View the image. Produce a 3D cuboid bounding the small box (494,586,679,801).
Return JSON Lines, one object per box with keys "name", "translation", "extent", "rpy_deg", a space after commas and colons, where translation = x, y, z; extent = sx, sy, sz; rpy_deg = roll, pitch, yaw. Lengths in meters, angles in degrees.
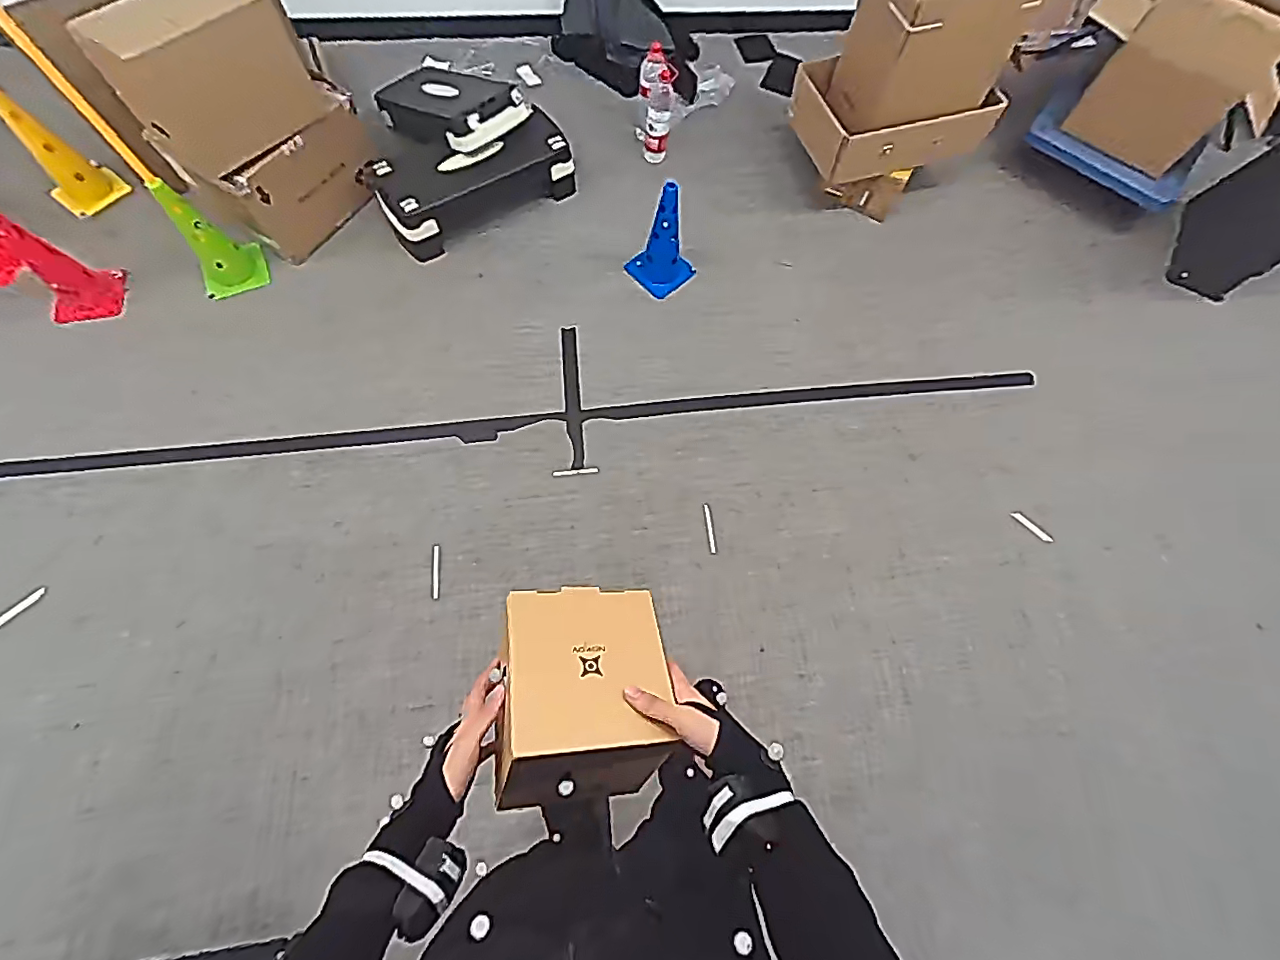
{"name": "small box", "translation": [-0.072, 0.239, 0.607], "extent": [0.168, 0.176, 0.179], "rpy_deg": [3, 44, -18]}
